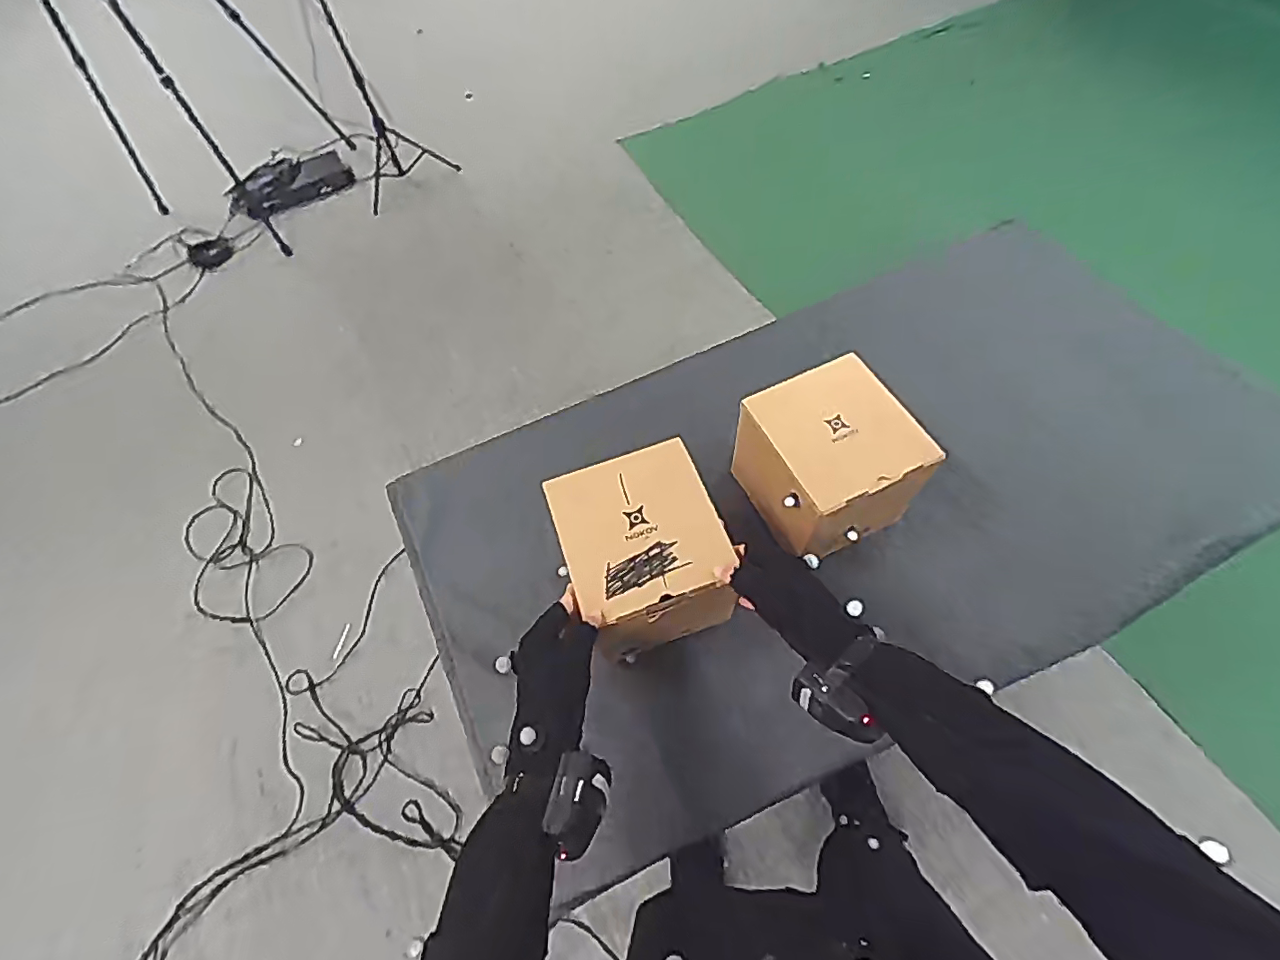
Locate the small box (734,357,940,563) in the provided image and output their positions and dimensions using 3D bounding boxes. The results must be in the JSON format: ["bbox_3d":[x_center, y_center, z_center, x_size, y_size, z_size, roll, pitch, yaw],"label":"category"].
[{"bbox_3d":[0.235,-0.020,0.703,0.168,0.176,0.179,-24,62,-8],"label":"small box"}]

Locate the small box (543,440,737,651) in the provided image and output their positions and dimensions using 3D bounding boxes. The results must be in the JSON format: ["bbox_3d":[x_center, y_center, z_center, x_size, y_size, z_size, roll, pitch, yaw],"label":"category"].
[{"bbox_3d":[0.001,0.087,0.636,0.168,0.176,0.179,-19,61,-6],"label":"small box"}]
